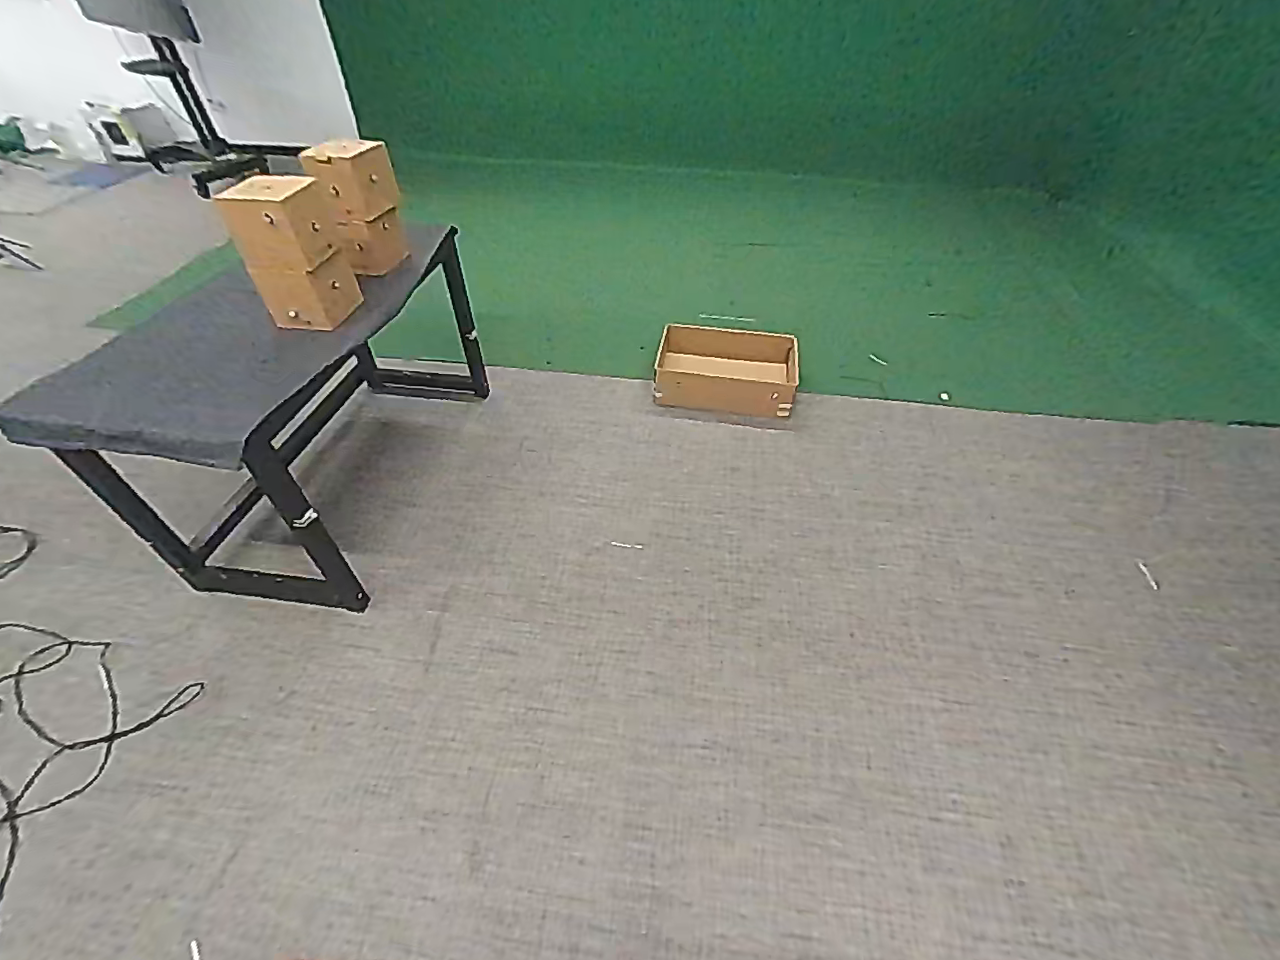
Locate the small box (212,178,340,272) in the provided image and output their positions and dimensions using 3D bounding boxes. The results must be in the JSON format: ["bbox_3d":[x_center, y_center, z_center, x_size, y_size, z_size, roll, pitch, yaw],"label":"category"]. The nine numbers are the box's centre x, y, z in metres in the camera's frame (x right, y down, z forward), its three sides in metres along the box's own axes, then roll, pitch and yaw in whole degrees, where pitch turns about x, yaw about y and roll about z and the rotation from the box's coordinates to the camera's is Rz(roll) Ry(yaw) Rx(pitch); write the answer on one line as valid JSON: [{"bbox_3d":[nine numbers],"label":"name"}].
[{"bbox_3d":[-0.891,-0.634,1.349,0.179,0.176,0.168,5,45,6],"label":"small box"}]

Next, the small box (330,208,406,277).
[{"bbox_3d":[-0.869,-0.759,1.709,0.168,0.176,0.179,9,45,8],"label":"small box"}]

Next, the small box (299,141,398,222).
[{"bbox_3d":[-0.850,-0.881,1.599,0.168,0.176,0.179,11,46,10],"label":"small box"}]

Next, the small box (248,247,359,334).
[{"bbox_3d":[-0.898,-0.521,1.468,0.168,0.176,0.179,5,47,7],"label":"small box"}]
